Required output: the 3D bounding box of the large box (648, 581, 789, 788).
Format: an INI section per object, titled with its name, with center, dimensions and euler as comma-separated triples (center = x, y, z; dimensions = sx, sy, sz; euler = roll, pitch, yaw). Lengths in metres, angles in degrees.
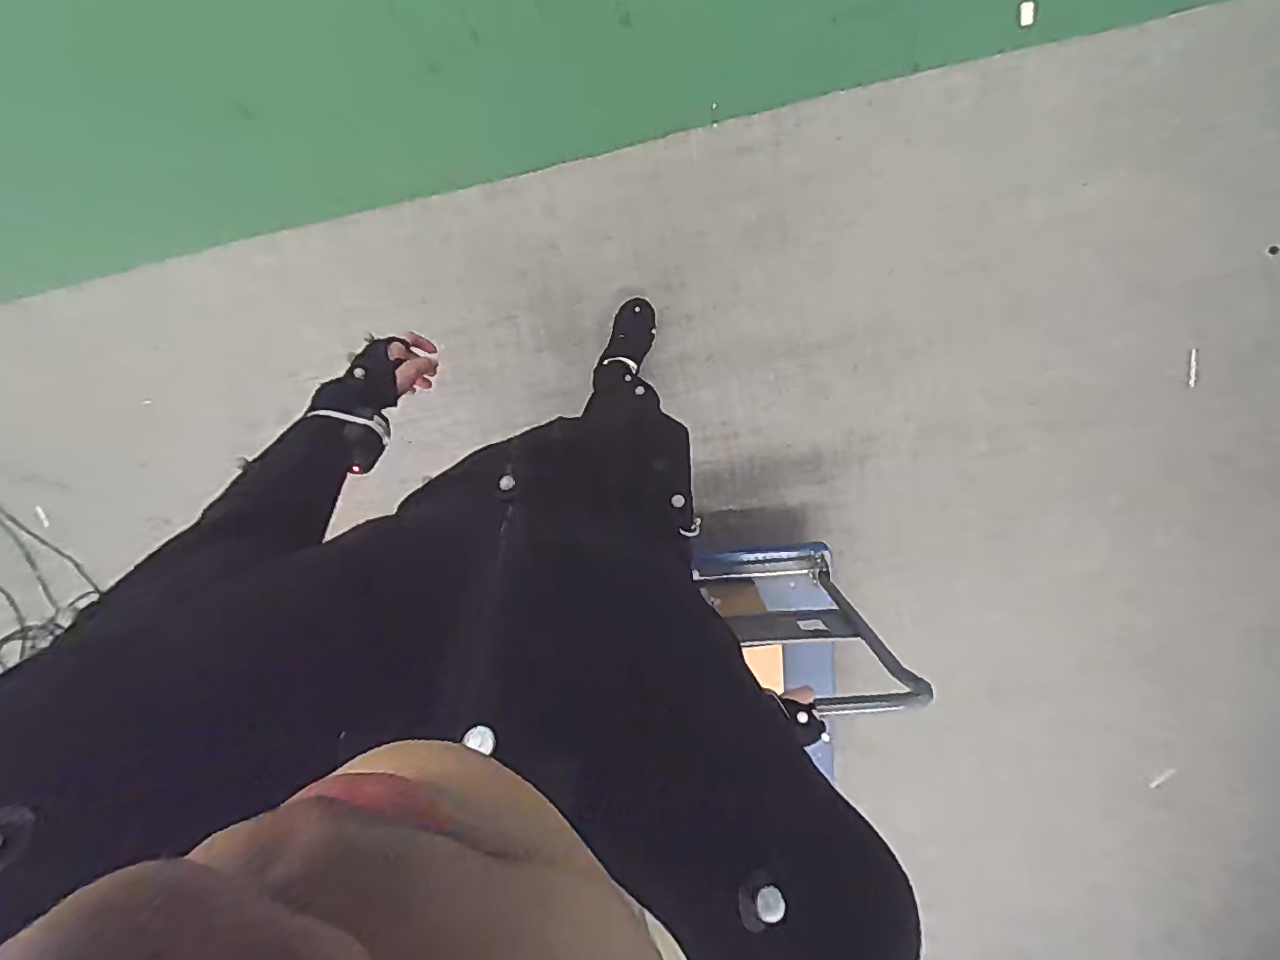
[large box]
center = 0.197, 0.524, 1.435
dimensions = 0.320, 0.320, 0.408
euler = -5, 105, 3
